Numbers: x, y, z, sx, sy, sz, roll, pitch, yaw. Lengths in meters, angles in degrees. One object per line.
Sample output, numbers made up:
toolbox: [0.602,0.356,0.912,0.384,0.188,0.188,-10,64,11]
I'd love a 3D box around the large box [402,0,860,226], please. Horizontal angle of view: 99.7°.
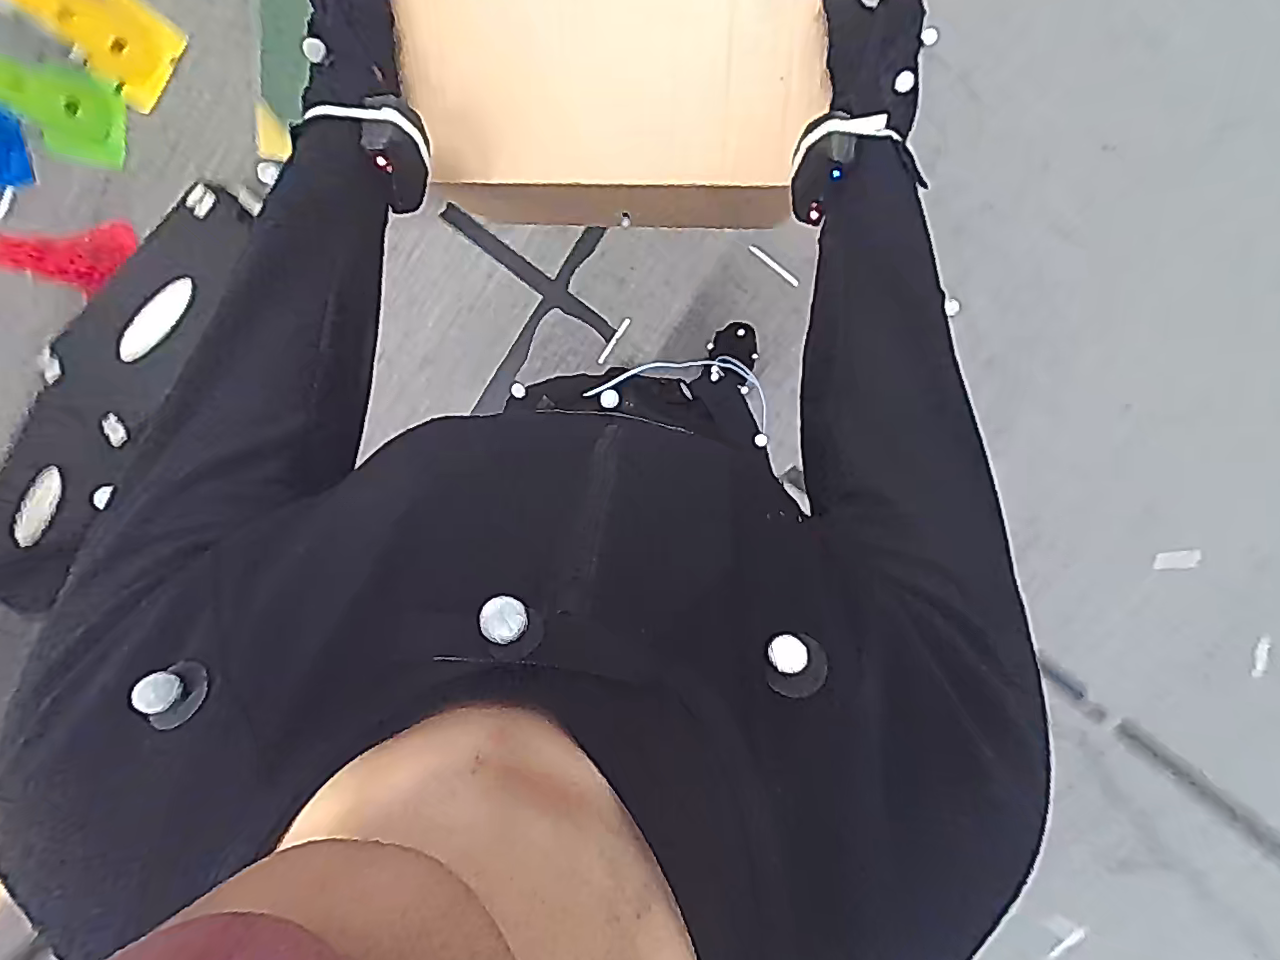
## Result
large box: [-0.002,-0.469,0.602,0.408,0.320,0.320,3,108,2]
